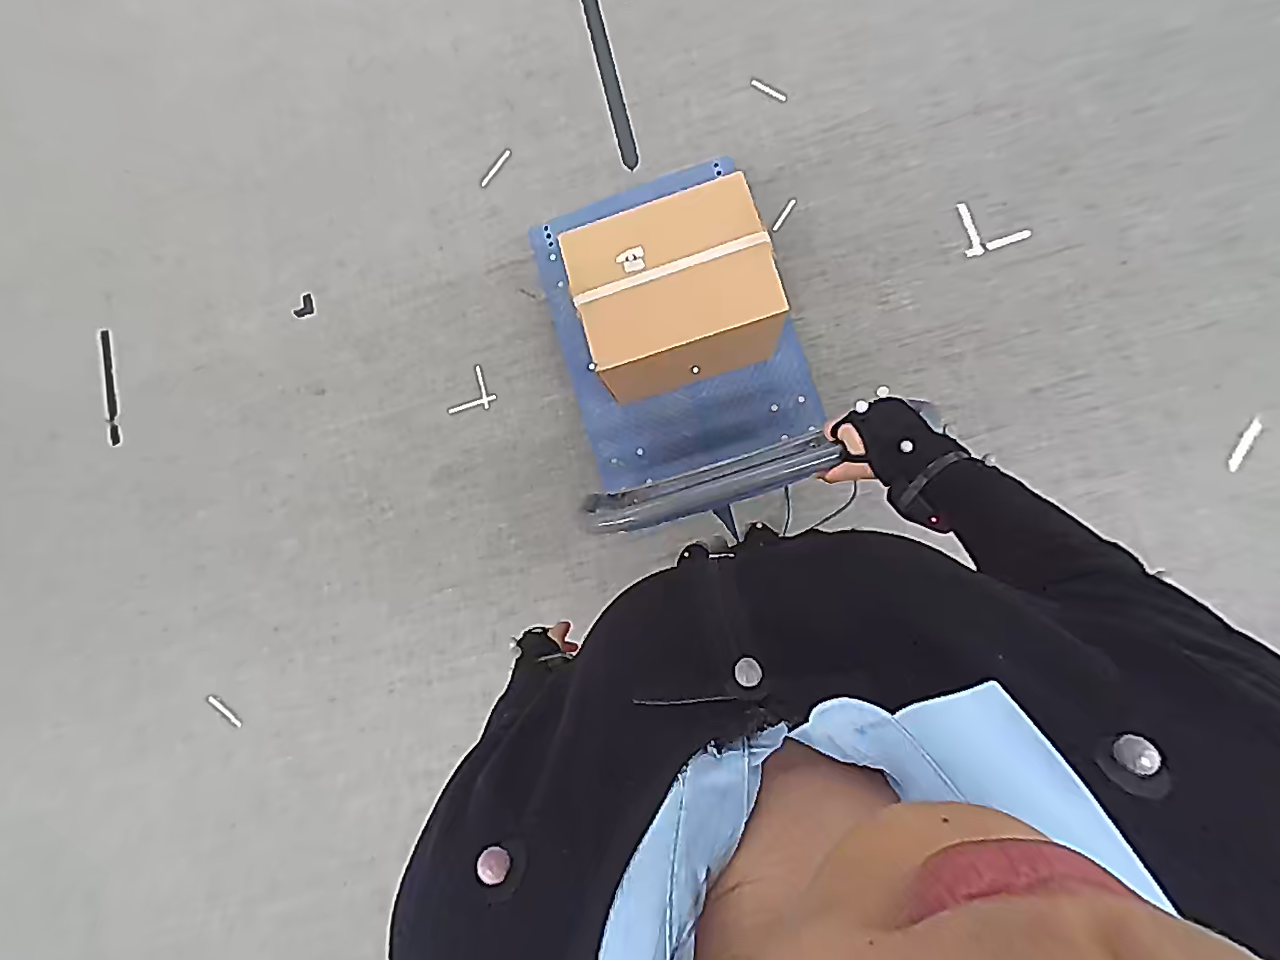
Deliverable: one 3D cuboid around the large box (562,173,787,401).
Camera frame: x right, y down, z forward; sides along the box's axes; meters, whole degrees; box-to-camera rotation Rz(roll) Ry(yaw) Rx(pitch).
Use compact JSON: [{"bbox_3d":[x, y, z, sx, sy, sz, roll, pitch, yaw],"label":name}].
[{"bbox_3d":[0.084,-0.415,1.258,0.408,0.320,0.320,-17,82,6],"label":"large box"}]
